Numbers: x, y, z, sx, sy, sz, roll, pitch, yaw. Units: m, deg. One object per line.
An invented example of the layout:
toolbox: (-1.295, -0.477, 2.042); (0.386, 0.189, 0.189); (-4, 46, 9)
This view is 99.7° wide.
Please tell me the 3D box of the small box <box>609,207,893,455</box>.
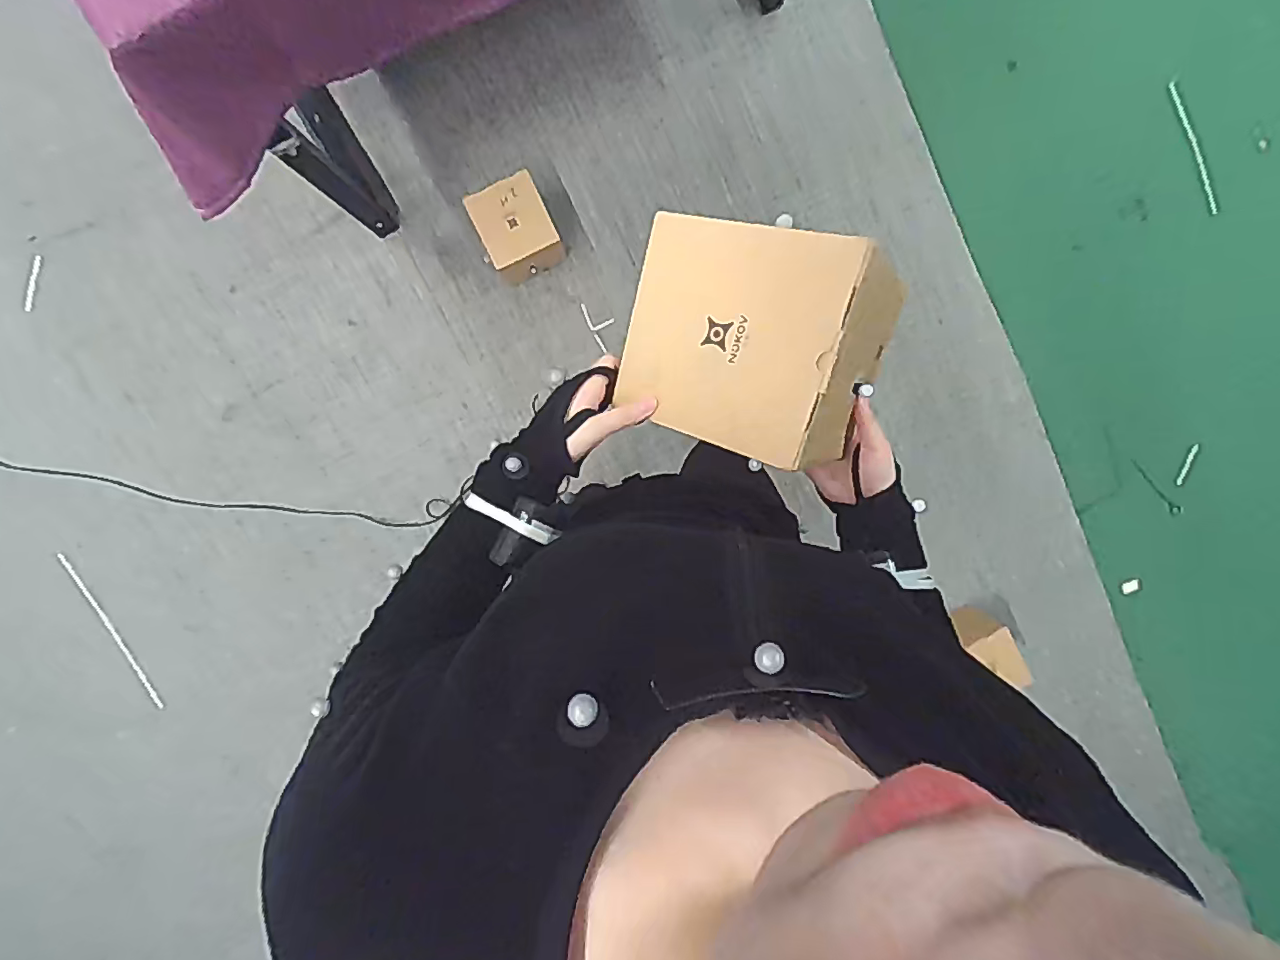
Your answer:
small box: (0.103, -0.128, 0.489); (0.179, 0.176, 0.168); (22, 107, 29)

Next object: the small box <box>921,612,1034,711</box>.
small box: (0.901, 0.478, 1.462); (0.168, 0.176, 0.179); (-28, 96, 2)
